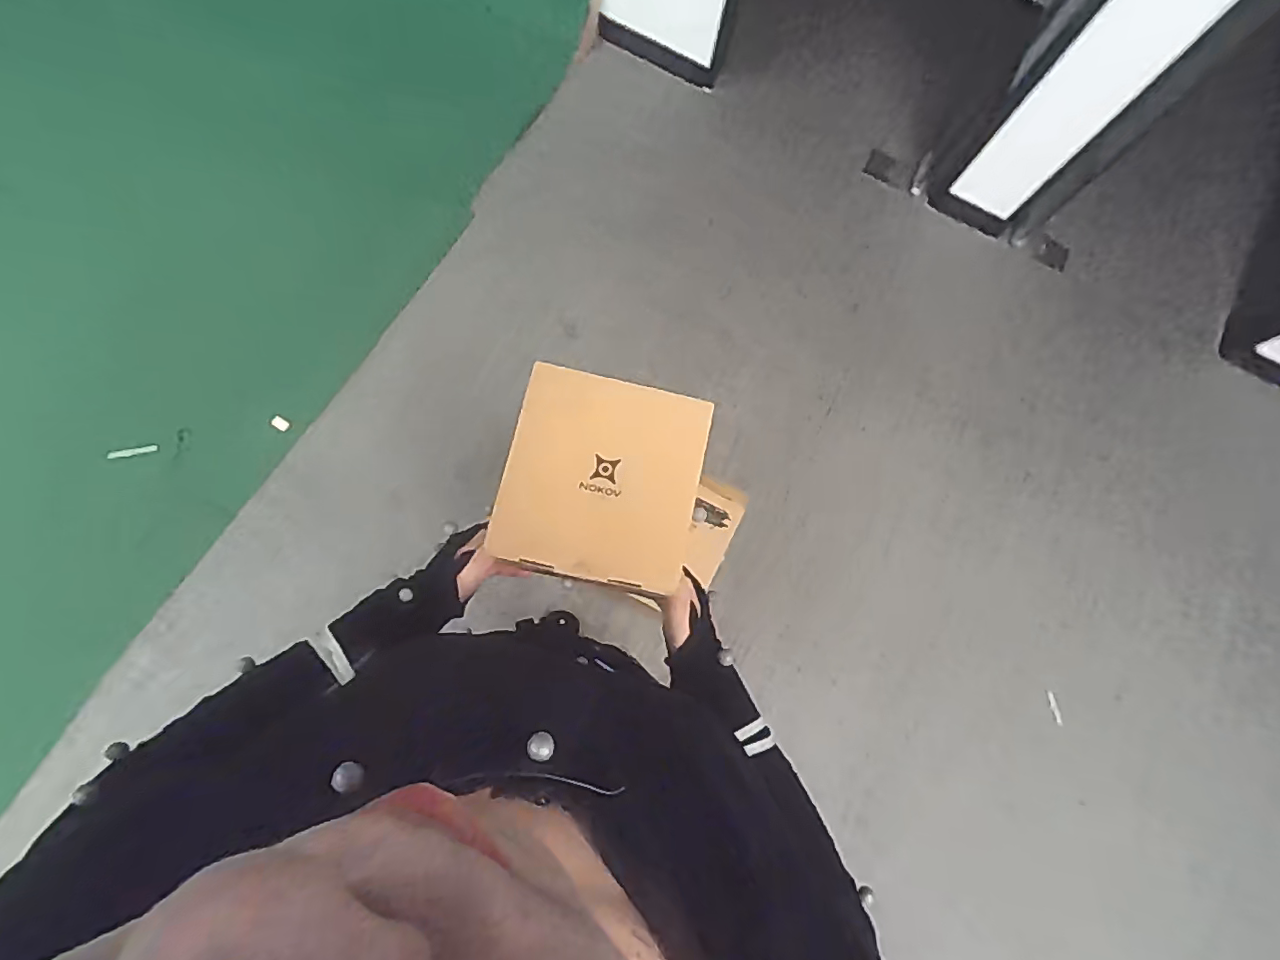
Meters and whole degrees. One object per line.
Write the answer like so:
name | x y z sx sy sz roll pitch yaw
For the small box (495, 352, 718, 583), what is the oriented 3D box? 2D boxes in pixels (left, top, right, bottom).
small box | -0.034 0.001 0.544 0.168 0.176 0.179 13 78 -3
